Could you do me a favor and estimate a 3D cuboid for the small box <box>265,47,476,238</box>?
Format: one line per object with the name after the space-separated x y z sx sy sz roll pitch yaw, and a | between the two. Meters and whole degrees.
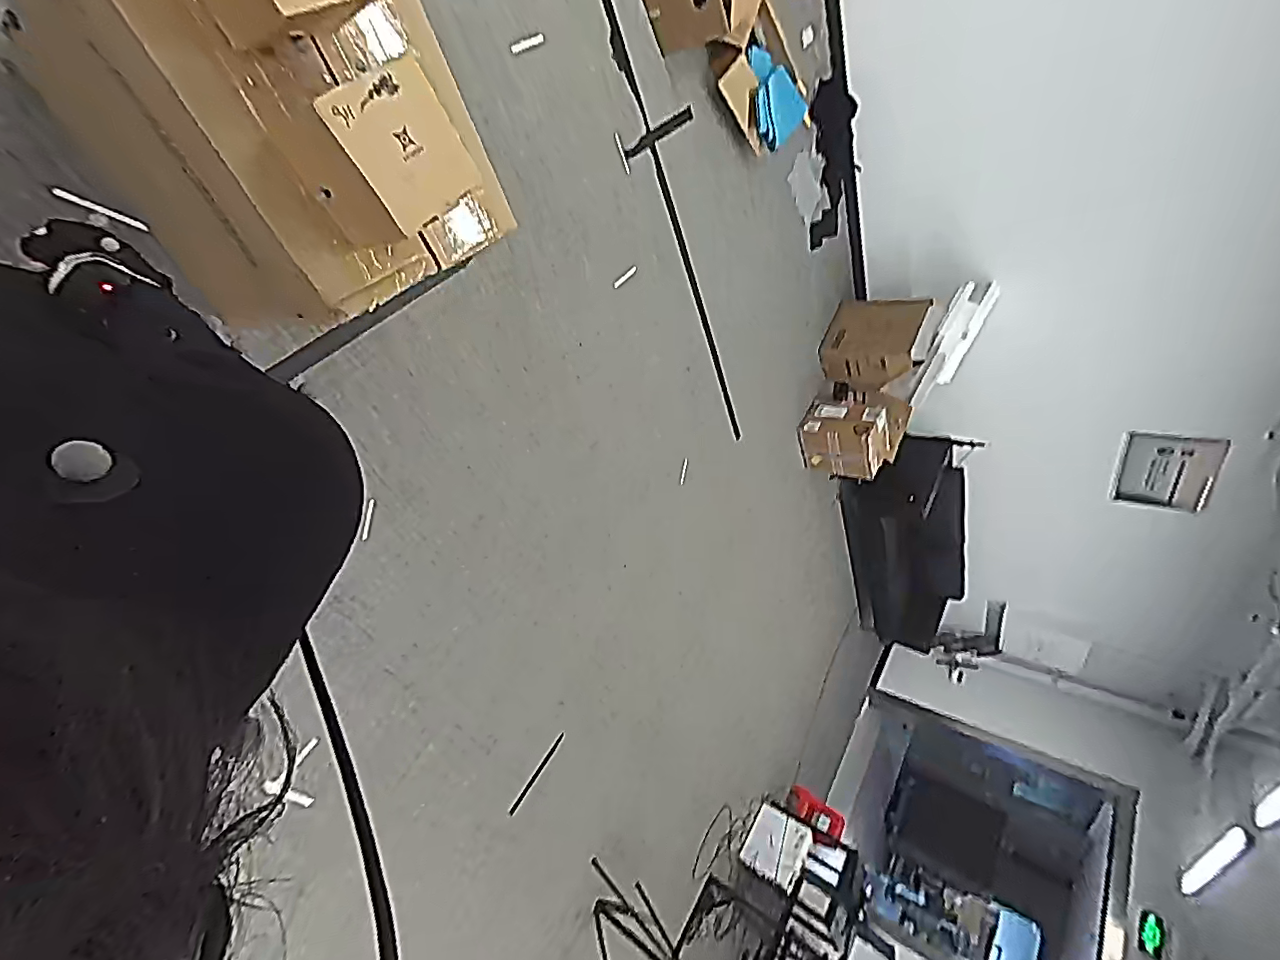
-0.381 -0.466 0.774 0.168 0.176 0.179 -54 136 -26 | small box
